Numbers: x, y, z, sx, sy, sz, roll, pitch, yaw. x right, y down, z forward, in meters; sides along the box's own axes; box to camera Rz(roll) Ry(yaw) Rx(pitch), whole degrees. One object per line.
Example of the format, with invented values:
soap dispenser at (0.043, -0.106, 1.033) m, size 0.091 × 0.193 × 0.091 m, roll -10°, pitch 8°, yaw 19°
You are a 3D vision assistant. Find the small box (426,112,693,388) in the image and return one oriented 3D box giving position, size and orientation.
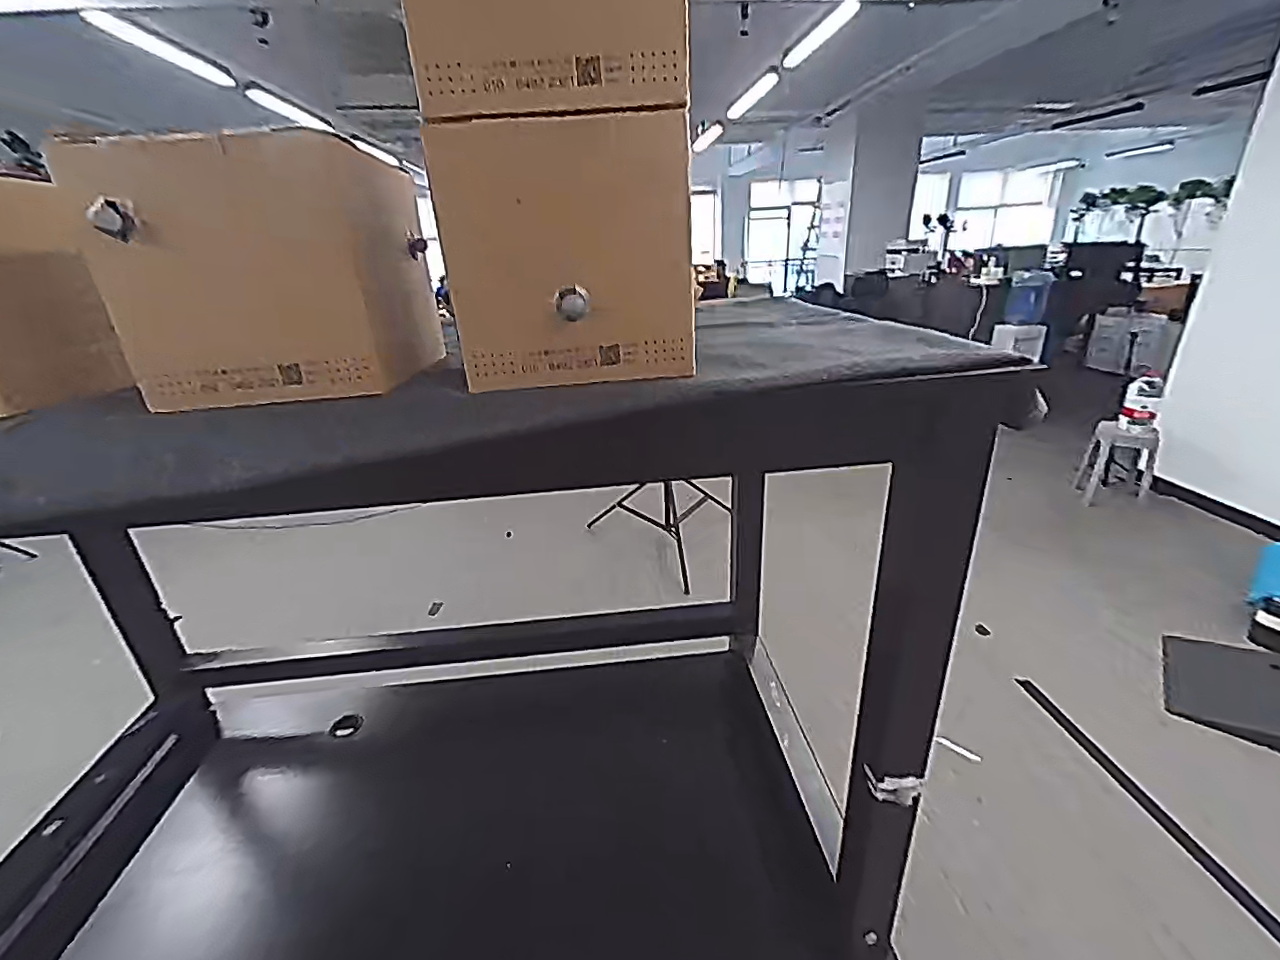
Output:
small box at (-0.051, -0.175, 0.438) m, size 0.168 × 0.176 × 0.179 m, roll -5°, pitch 22°, yaw -2°

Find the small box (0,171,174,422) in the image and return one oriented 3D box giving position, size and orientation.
small box at (-0.531, -0.140, 0.427) m, size 0.168 × 0.176 × 0.179 m, roll -4°, pitch 21°, yaw -1°

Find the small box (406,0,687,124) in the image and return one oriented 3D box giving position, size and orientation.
small box at (-0.059, -0.327, 0.377) m, size 0.168 × 0.176 × 0.179 m, roll -4°, pitch 23°, yaw -2°
